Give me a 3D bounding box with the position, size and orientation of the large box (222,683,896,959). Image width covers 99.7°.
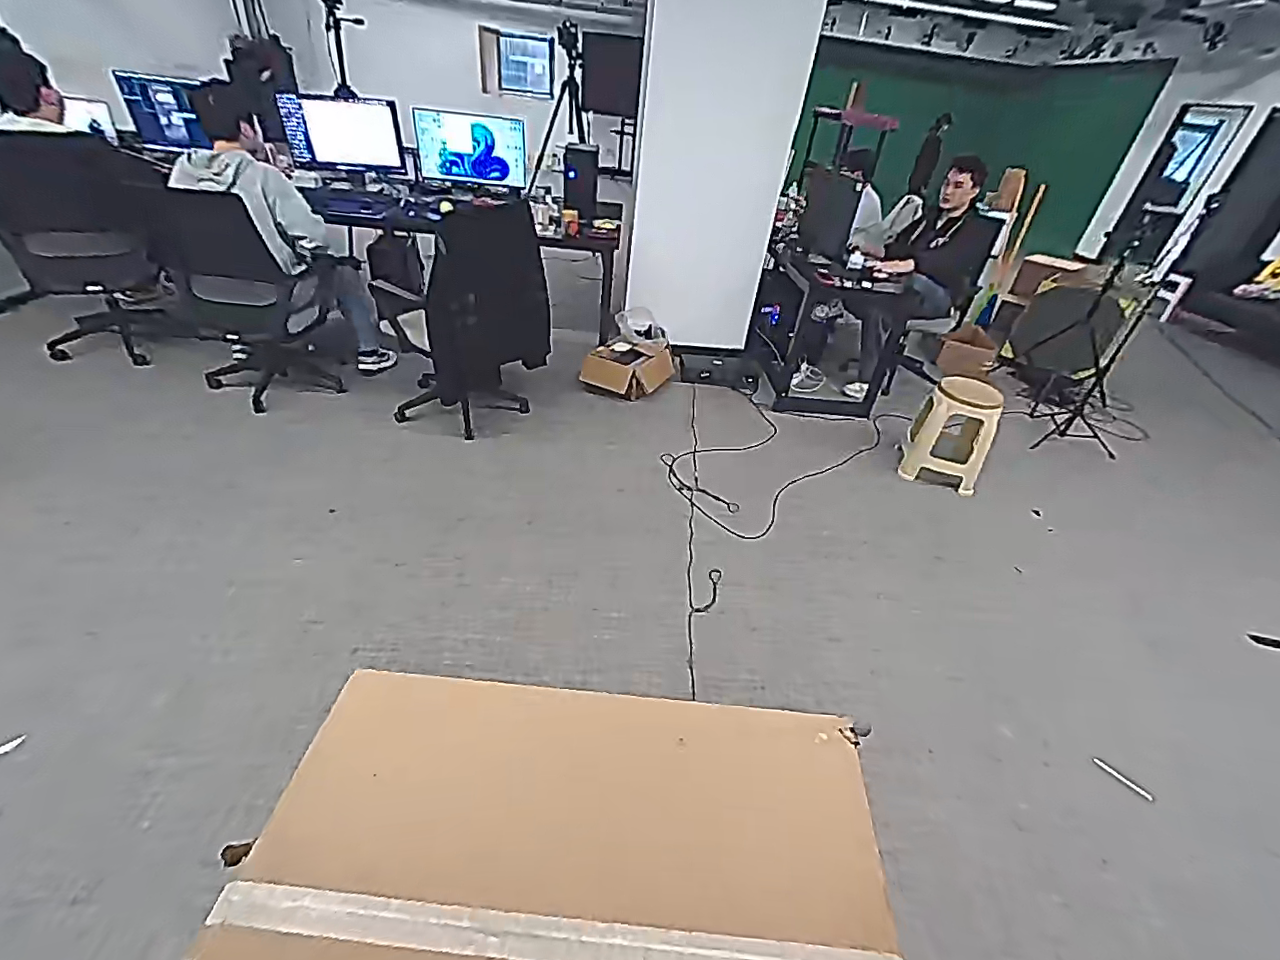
[{"bbox_3d":[-0.051,0.394,0.421,0.408,0.320,0.320,5,40,2],"label":"large box"}]
